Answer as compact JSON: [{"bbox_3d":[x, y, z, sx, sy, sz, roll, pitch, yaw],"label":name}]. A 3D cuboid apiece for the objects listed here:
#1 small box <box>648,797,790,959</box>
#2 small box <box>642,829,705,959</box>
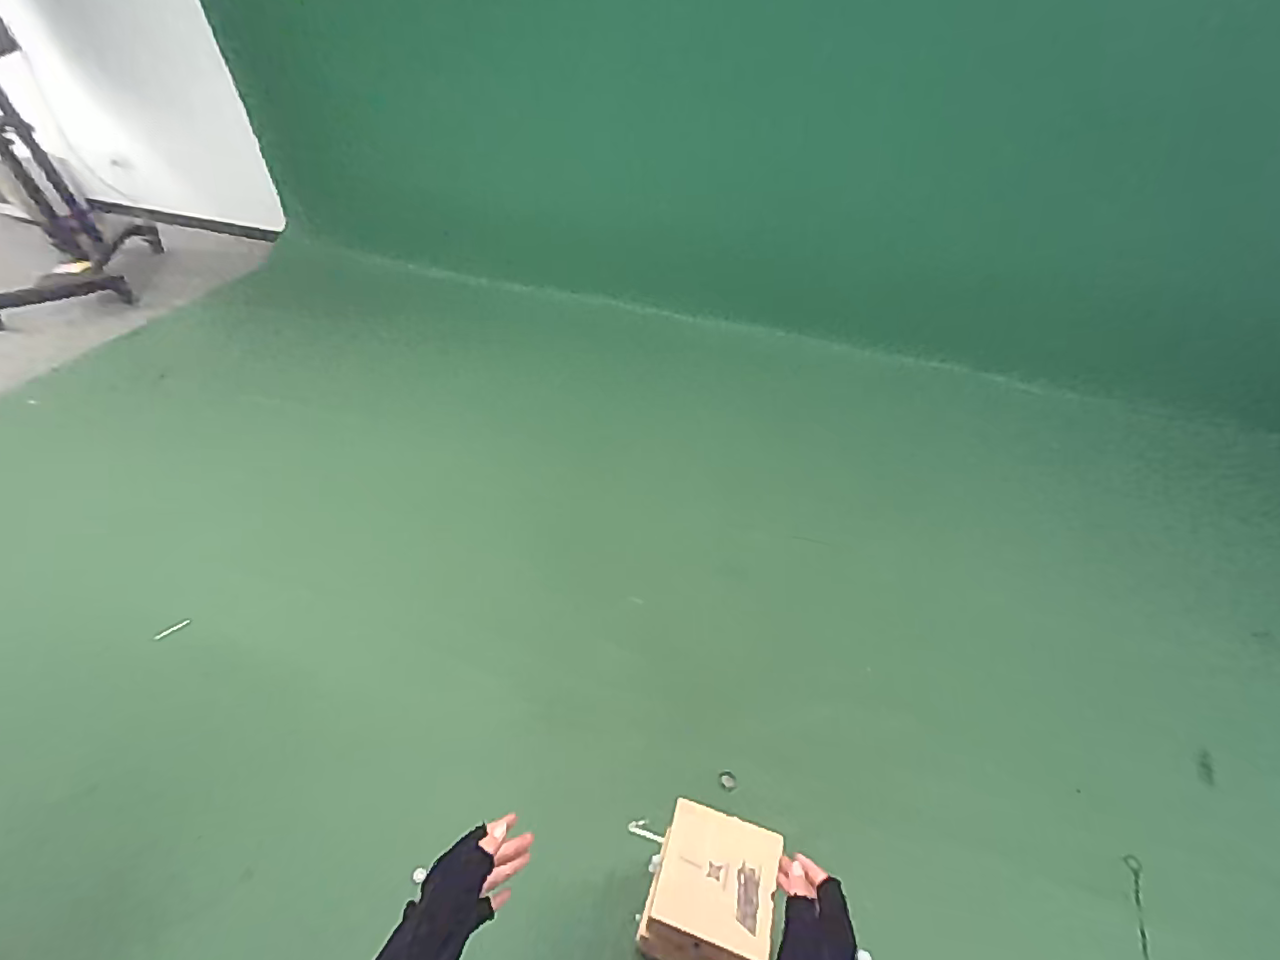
[{"bbox_3d":[0.123,0.652,0.869,0.179,0.176,0.168,17,45,14],"label":"small box"},{"bbox_3d":[0.109,0.776,0.981,0.179,0.176,0.168,15,47,13],"label":"small box"}]
